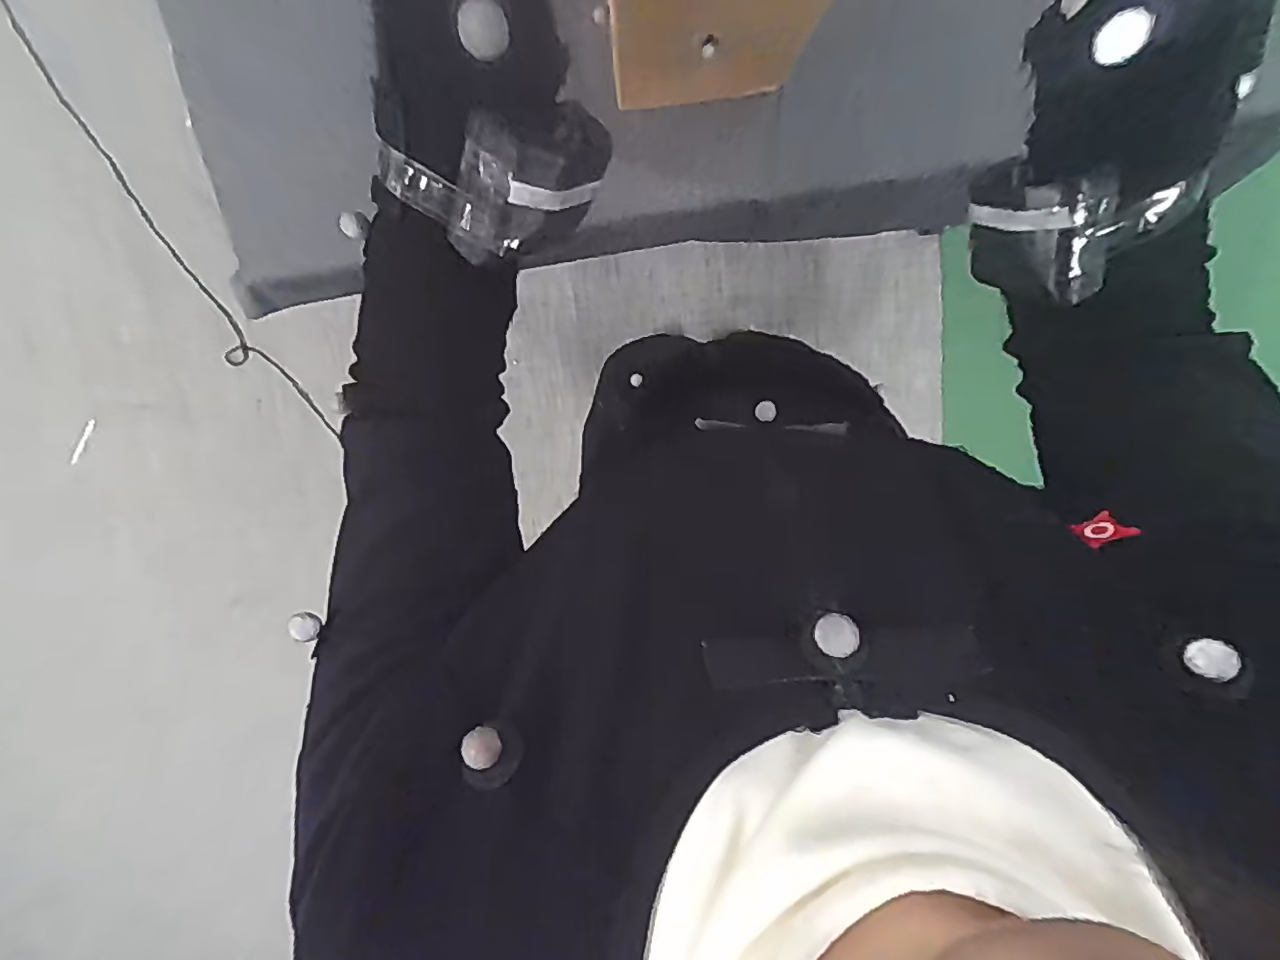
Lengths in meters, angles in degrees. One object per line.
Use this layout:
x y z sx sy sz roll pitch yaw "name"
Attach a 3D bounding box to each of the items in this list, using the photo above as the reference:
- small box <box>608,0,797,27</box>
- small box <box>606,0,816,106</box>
0.054 -0.427 0.334 0.179 0.176 0.168 -6 104 4 "small box"
0.054 -0.472 0.492 0.179 0.176 0.168 -7 104 2 "small box"
